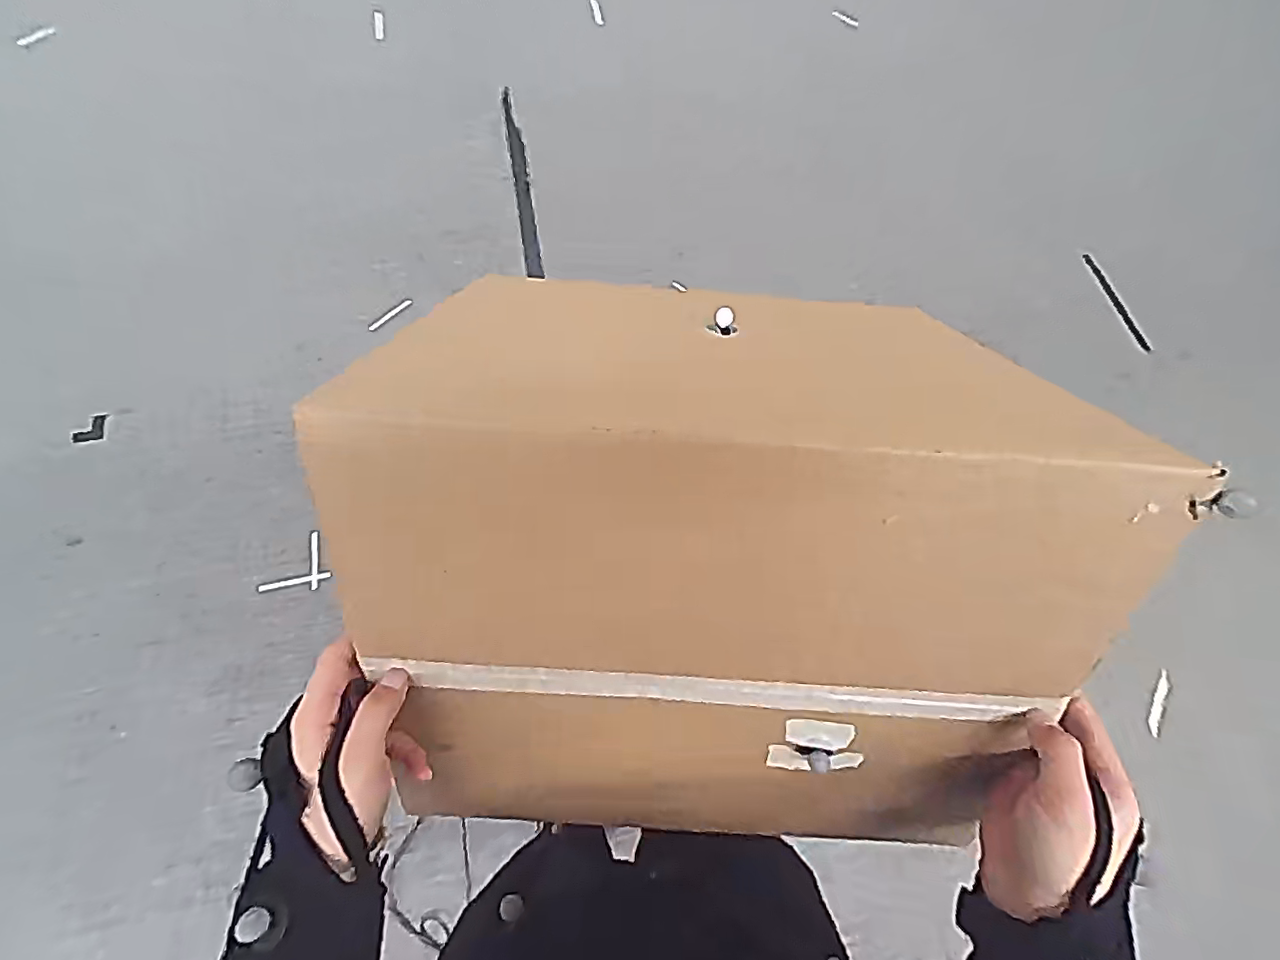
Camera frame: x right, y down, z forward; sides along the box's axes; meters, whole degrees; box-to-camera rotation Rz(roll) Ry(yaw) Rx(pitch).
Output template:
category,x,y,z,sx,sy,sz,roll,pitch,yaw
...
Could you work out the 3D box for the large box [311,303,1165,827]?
category,x,y,z,sx,sy,sz,roll,pitch,yaw
large box,0.040,0.044,0.449,0.408,0.320,0.320,2,31,-2
